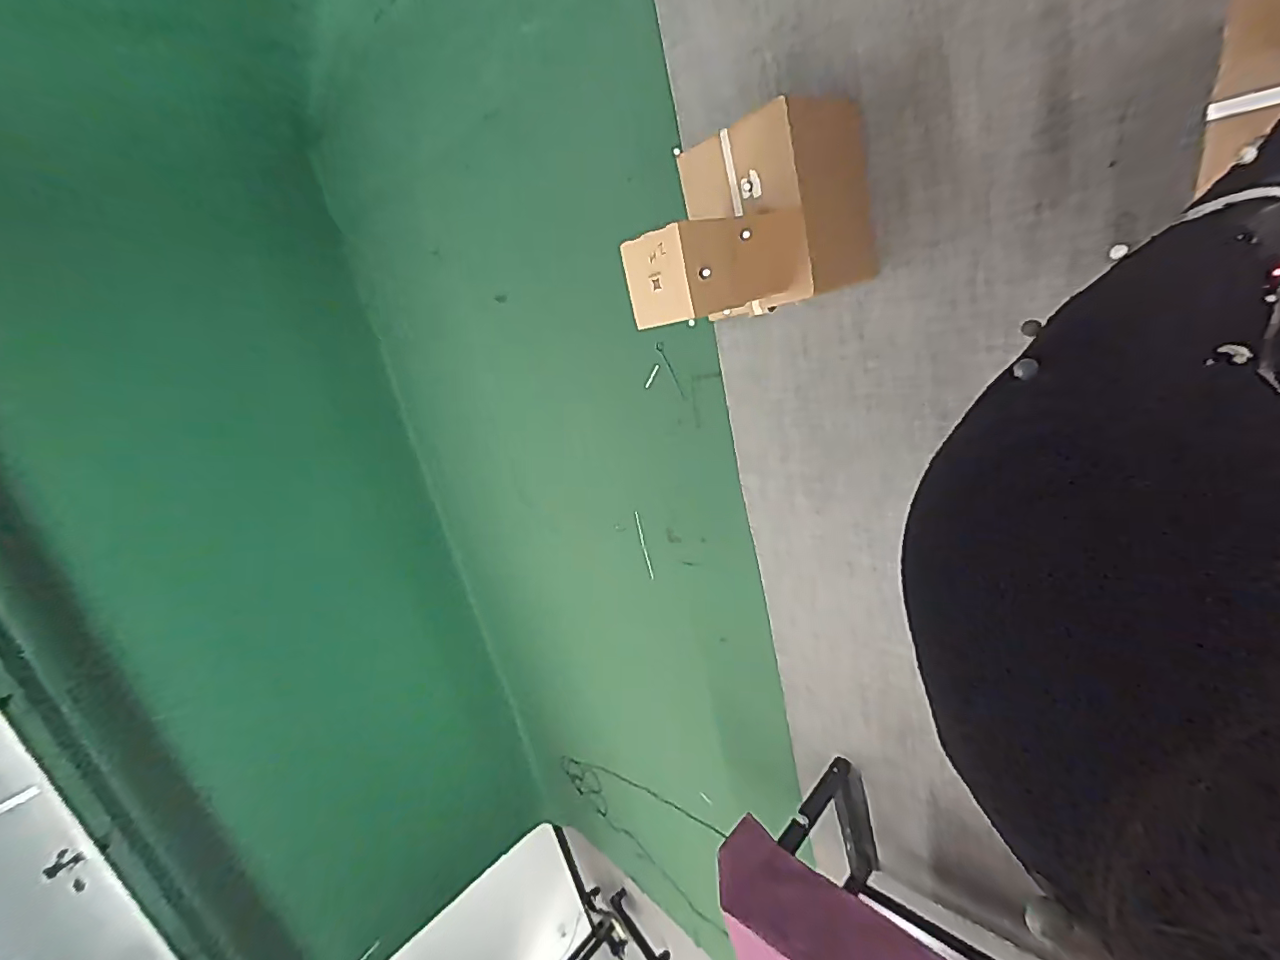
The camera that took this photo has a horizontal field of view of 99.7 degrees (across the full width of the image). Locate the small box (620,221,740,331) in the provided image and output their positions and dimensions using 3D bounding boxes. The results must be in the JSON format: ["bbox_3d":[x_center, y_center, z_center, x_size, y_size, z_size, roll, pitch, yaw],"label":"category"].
[{"bbox_3d":[0.088,-0.419,1.114,0.168,0.176,0.179,6,114,46],"label":"small box"}]

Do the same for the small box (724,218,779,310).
[{"bbox_3d":[0.198,-0.478,1.222,0.168,0.176,0.179,7,115,47],"label":"small box"}]

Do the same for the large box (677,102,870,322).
[{"bbox_3d":[0.342,-0.646,1.357,0.320,0.320,0.408,4,113,48],"label":"large box"}]
